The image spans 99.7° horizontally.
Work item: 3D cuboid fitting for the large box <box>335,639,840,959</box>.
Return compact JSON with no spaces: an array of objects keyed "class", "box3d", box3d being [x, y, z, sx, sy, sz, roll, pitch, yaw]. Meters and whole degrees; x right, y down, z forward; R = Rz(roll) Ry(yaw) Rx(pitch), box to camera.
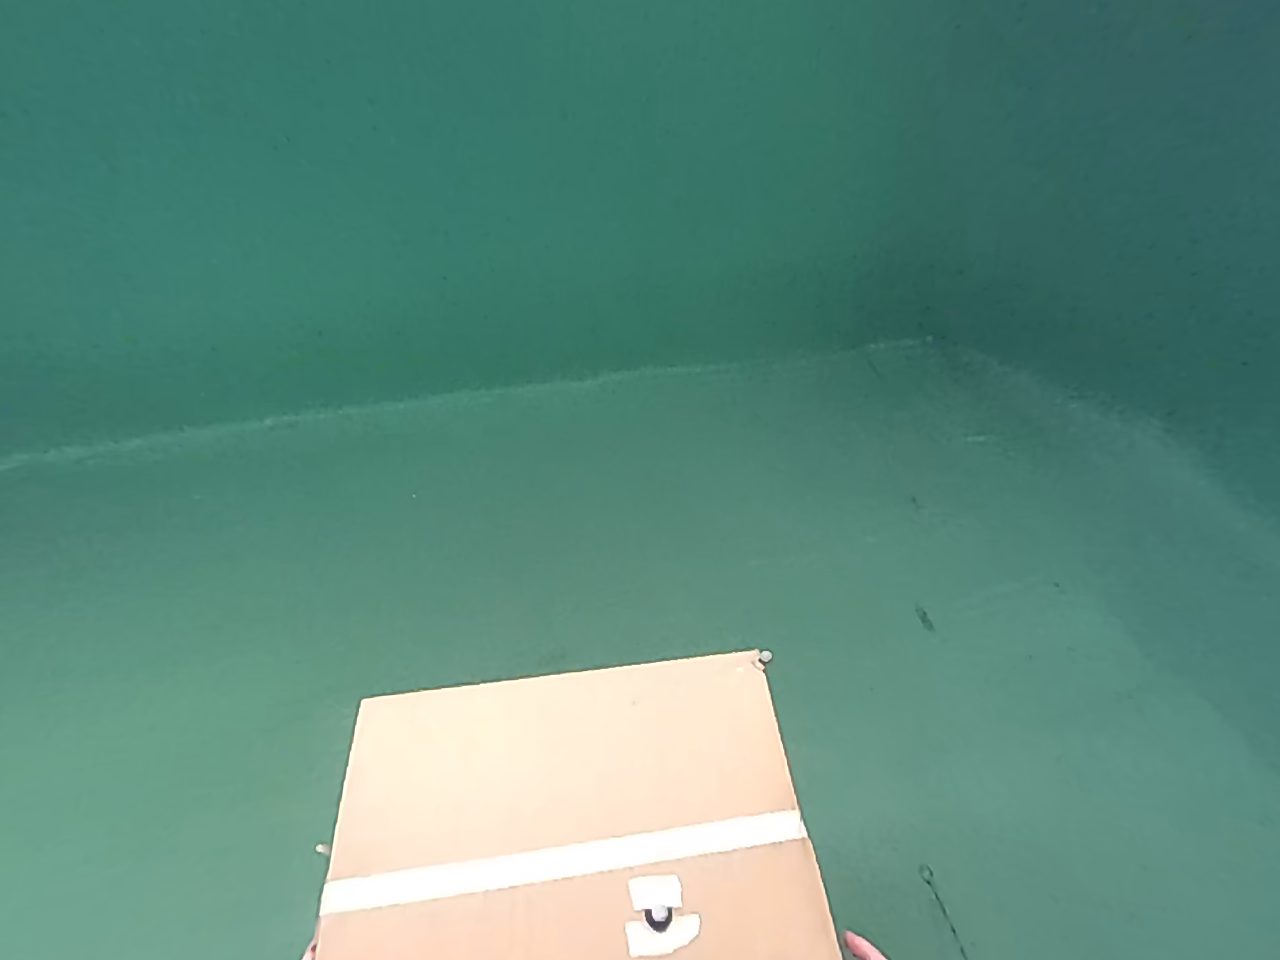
[{"class":"large box","box3d":[-0.056,0.402,0.597,0.408,0.320,0.320,-5,55,-5]}]
